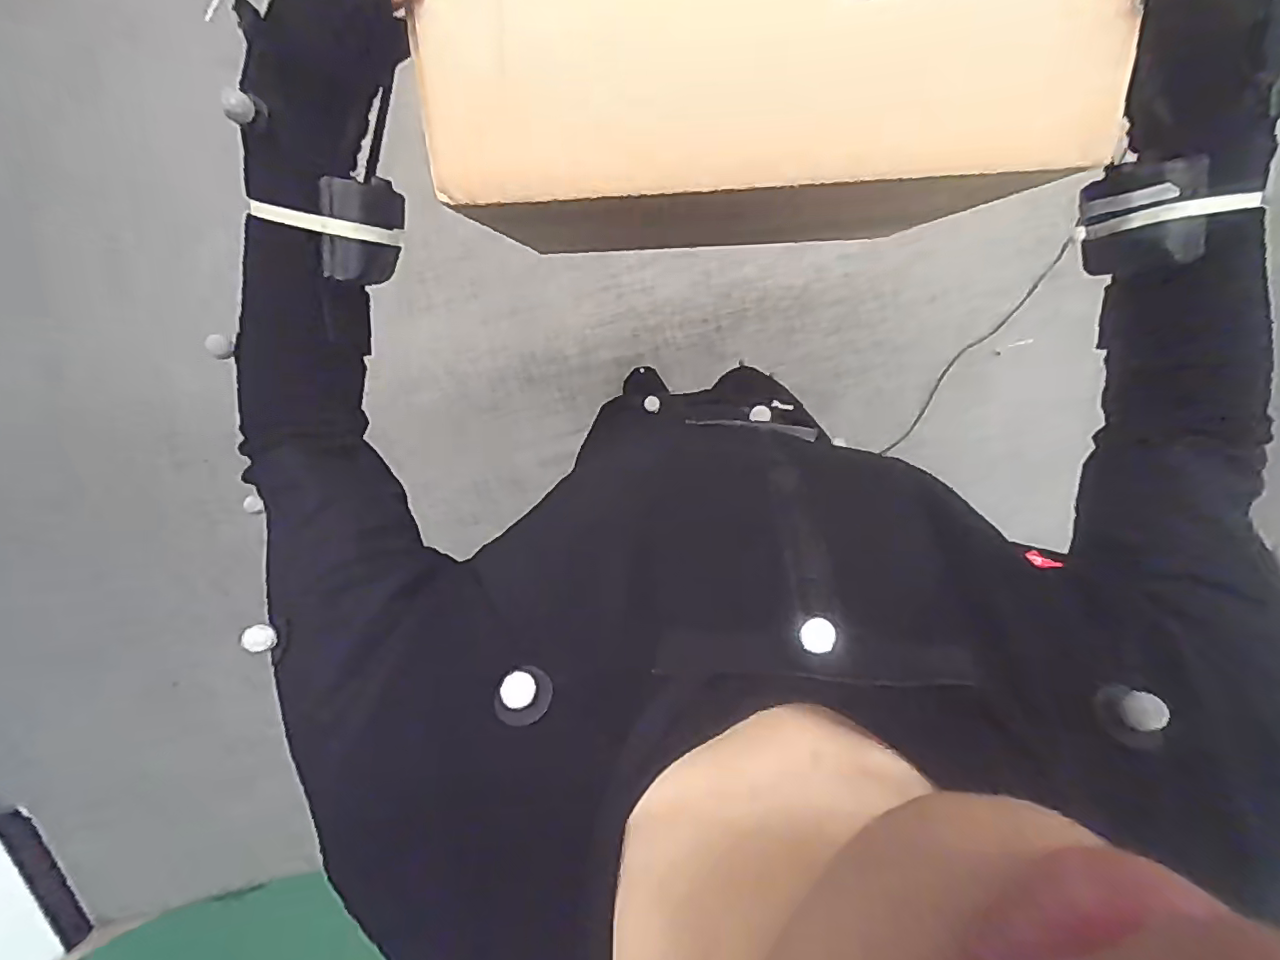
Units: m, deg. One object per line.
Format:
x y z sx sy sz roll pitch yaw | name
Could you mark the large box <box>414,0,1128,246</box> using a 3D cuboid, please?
0.067 -0.378 0.422 0.408 0.320 0.320 -3 108 1 | large box
